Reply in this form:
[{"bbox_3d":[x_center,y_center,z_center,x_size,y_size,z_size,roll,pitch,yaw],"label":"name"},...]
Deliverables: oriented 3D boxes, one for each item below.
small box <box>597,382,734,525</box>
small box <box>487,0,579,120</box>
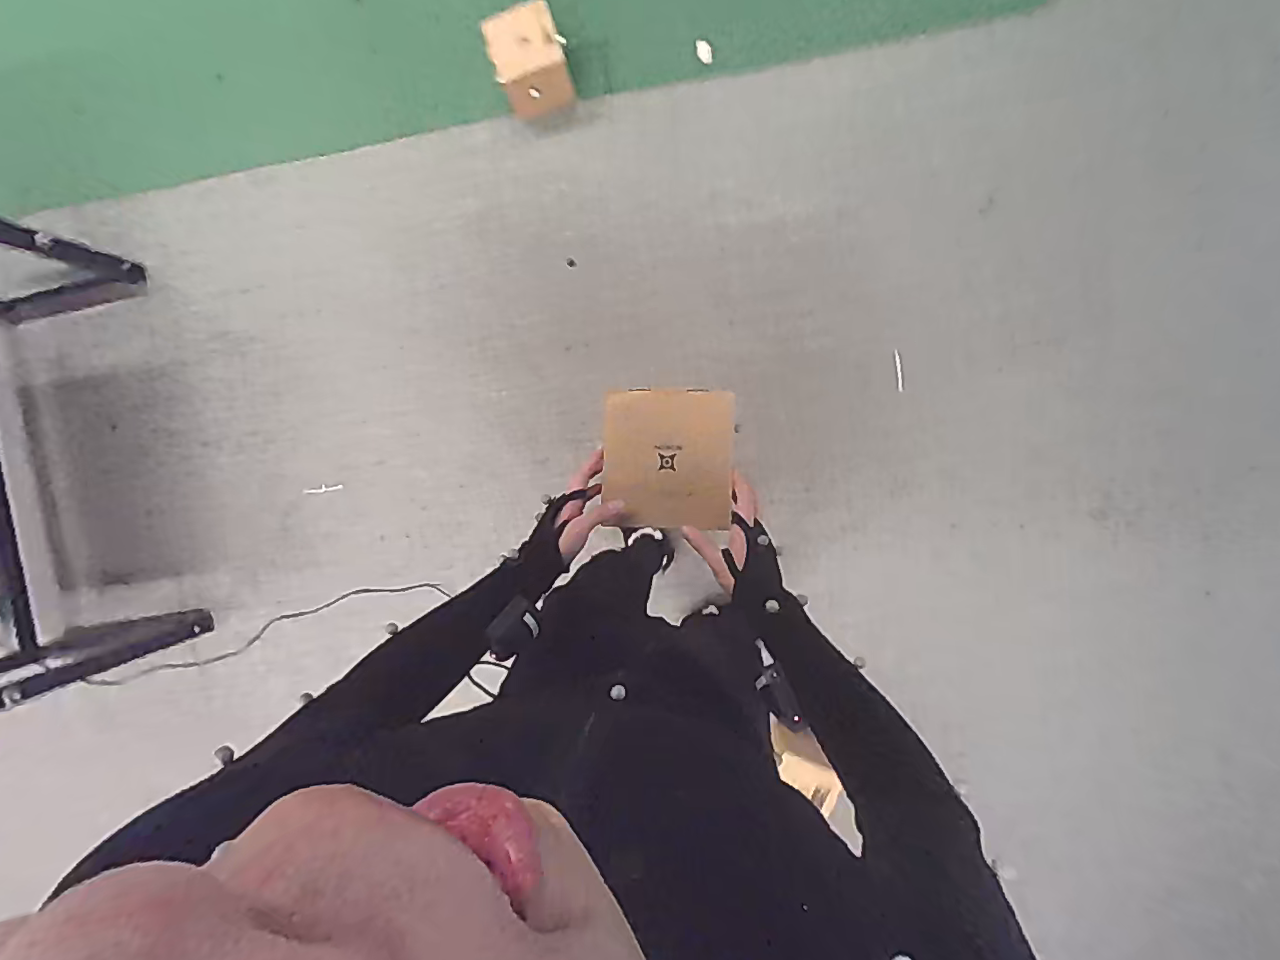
[{"bbox_3d":[0.039,-0.035,0.743,0.168,0.176,0.179,1,92,7],"label":"small box"},{"bbox_3d":[-0.285,-1.126,1.469,0.179,0.176,0.168,-18,91,6],"label":"small box"}]
